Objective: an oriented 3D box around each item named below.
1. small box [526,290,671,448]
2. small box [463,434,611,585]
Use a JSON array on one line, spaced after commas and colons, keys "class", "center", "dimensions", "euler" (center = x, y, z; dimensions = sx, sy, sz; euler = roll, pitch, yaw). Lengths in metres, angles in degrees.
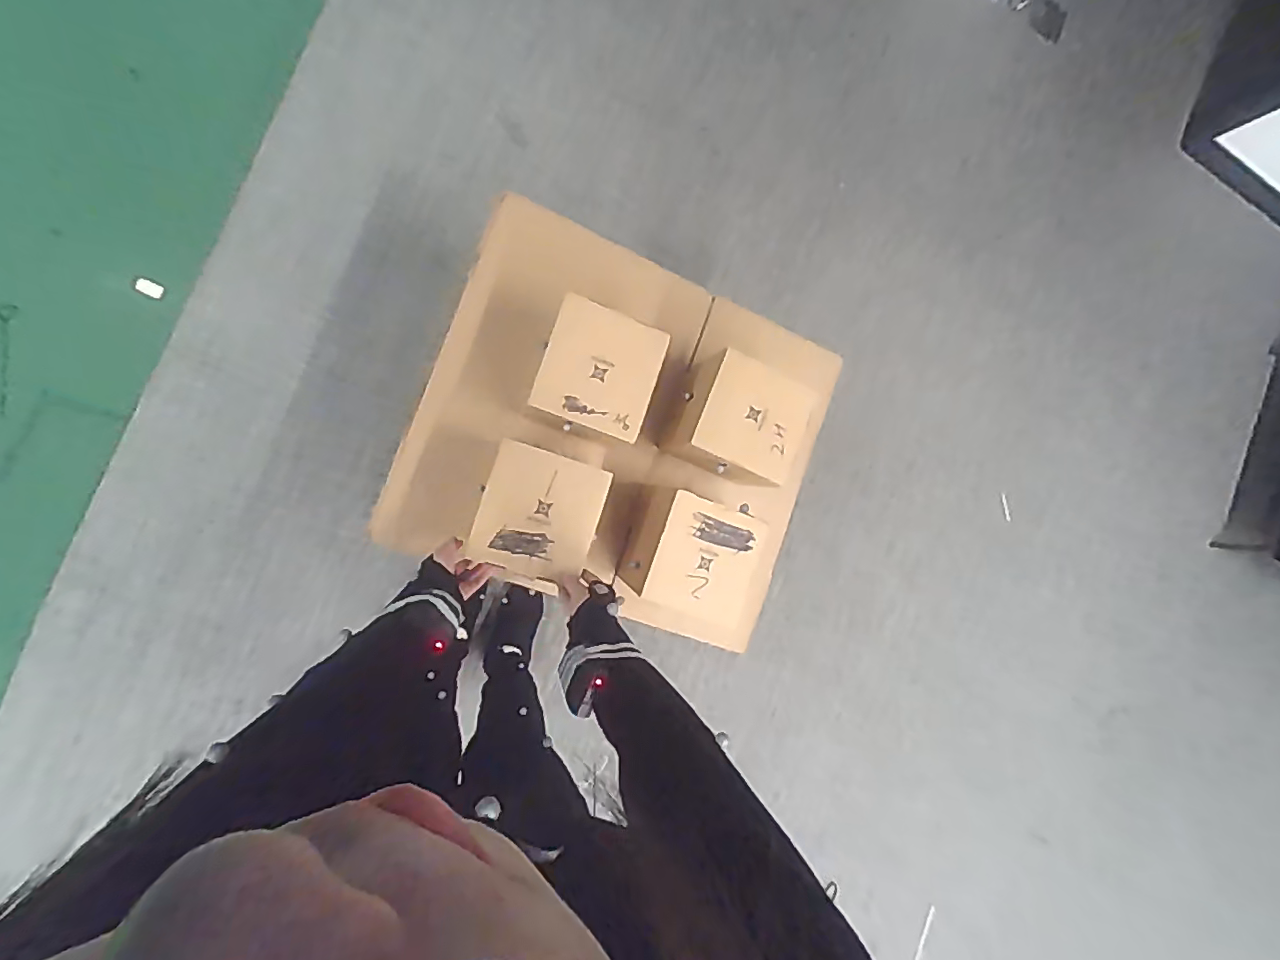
[{"class": "small box", "center": [-0.075, -0.161, 0.848], "dimensions": [0.168, 0.176, 0.179], "euler": [20, 85, -13]}, {"class": "small box", "center": [-0.160, 0.042, 0.830], "dimensions": [0.168, 0.176, 0.179], "euler": [18, 86, -15]}]
